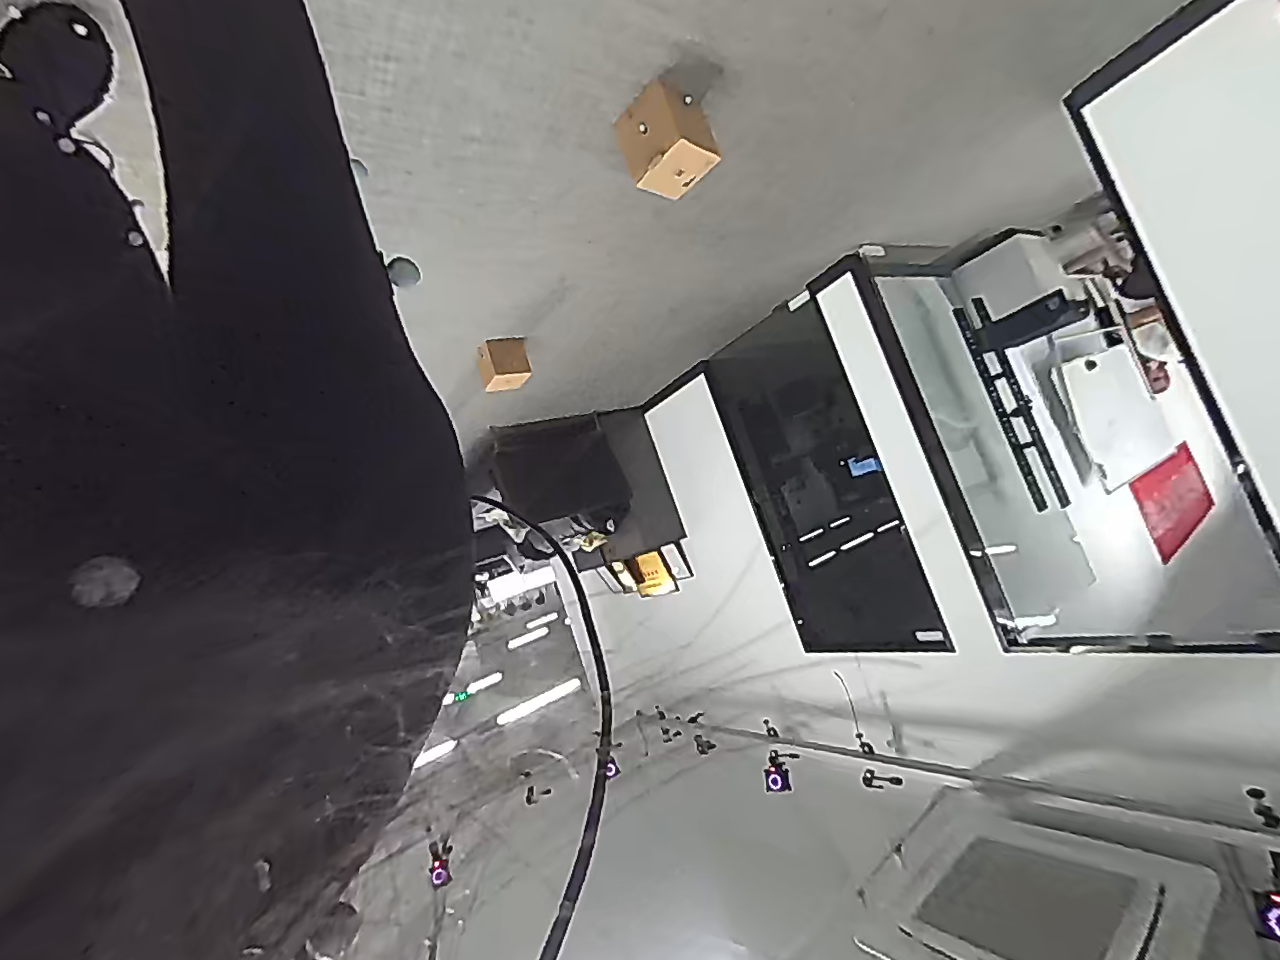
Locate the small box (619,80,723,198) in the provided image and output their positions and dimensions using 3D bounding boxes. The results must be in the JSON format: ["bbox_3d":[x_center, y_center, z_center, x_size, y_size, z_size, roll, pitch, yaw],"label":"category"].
[{"bbox_3d":[0.073,-0.855,1.360,0.168,0.176,0.179,-24,172,42],"label":"small box"}]

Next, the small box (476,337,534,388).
[{"bbox_3d":[-0.603,-0.526,2.400,0.179,0.176,0.168,-15,172,-35],"label":"small box"}]
